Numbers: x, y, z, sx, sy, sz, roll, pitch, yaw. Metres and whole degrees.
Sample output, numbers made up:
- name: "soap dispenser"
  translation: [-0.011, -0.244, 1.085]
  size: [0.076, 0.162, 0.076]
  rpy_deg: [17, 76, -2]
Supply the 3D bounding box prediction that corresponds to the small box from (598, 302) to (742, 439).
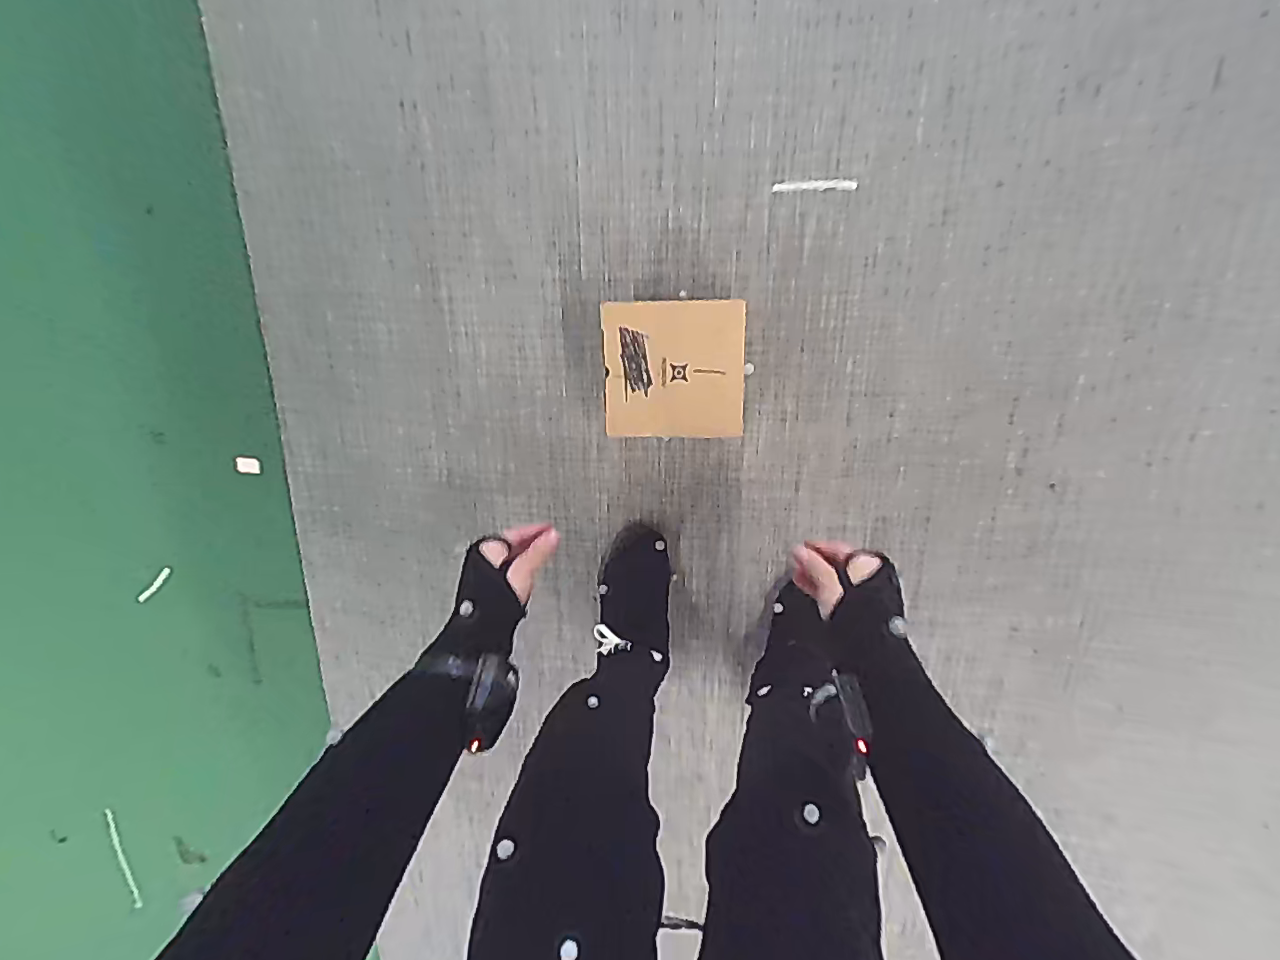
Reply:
- name: "small box"
  translation: [0.047, -0.152, 0.741]
  size: [0.179, 0.176, 0.168]
  rpy_deg: [0, 106, 8]
